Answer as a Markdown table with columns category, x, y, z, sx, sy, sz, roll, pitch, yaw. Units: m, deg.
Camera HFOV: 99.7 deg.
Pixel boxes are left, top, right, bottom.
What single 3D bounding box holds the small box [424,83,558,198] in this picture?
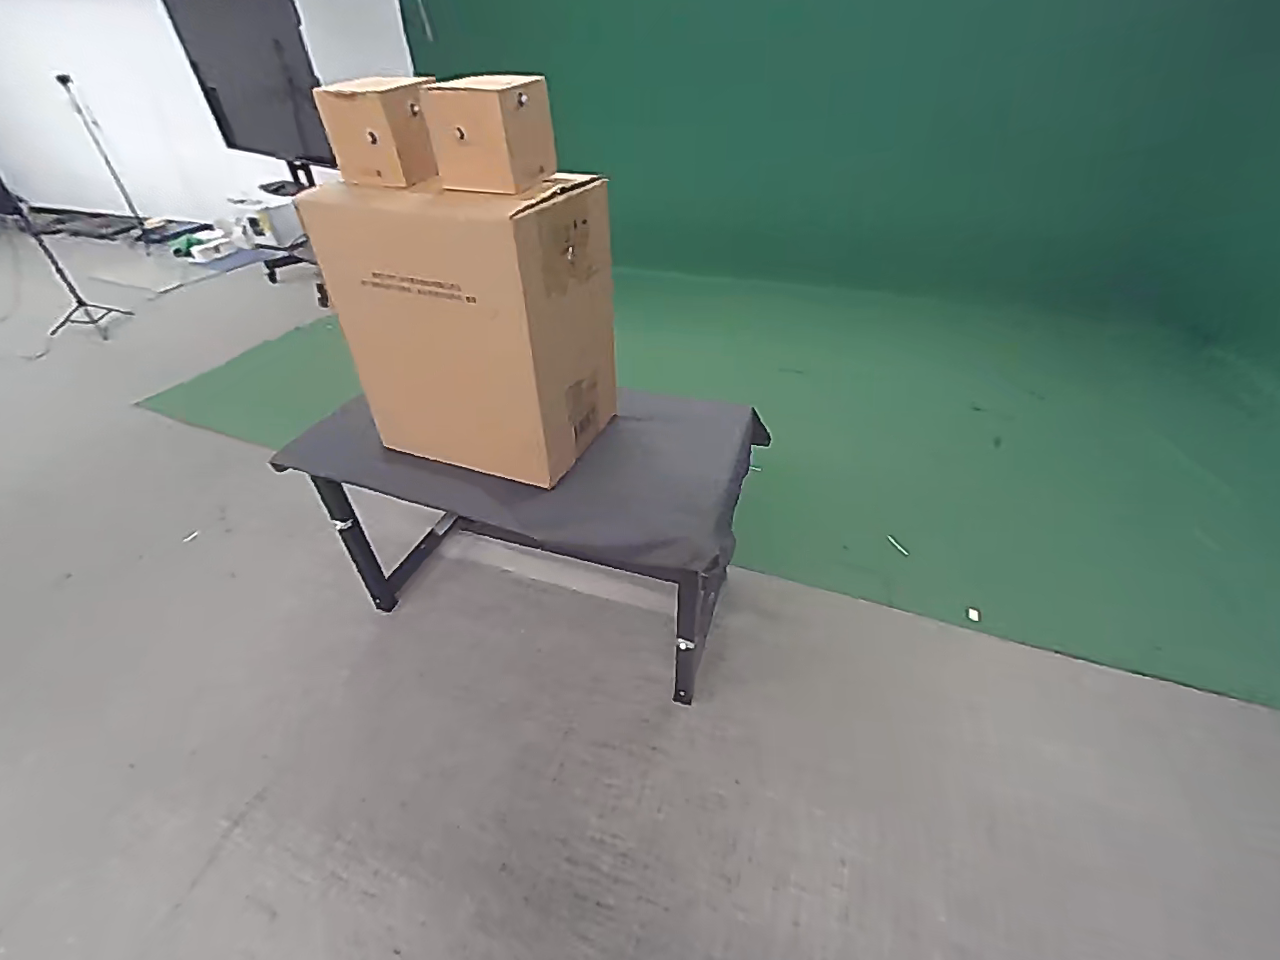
| category | x | y | z | sx | sy | sz | roll | pitch | yaw |
| --- | --- | --- | --- | --- | --- | --- | --- | --- | --- |
| small box | -0.283 | -0.668 | 1.066 | 0.179 | 0.176 | 0.168 | 13 | 45 | 19 |

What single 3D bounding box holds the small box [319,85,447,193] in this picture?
| category | x | y | z | sx | sy | sz | roll | pitch | yaw |
| --- | --- | --- | --- | --- | --- | --- | --- | --- | --- |
| small box | -0.521 | -0.722 | 1.144 | 0.168 | 0.176 | 0.179 | 14 | 44 | 16 |
